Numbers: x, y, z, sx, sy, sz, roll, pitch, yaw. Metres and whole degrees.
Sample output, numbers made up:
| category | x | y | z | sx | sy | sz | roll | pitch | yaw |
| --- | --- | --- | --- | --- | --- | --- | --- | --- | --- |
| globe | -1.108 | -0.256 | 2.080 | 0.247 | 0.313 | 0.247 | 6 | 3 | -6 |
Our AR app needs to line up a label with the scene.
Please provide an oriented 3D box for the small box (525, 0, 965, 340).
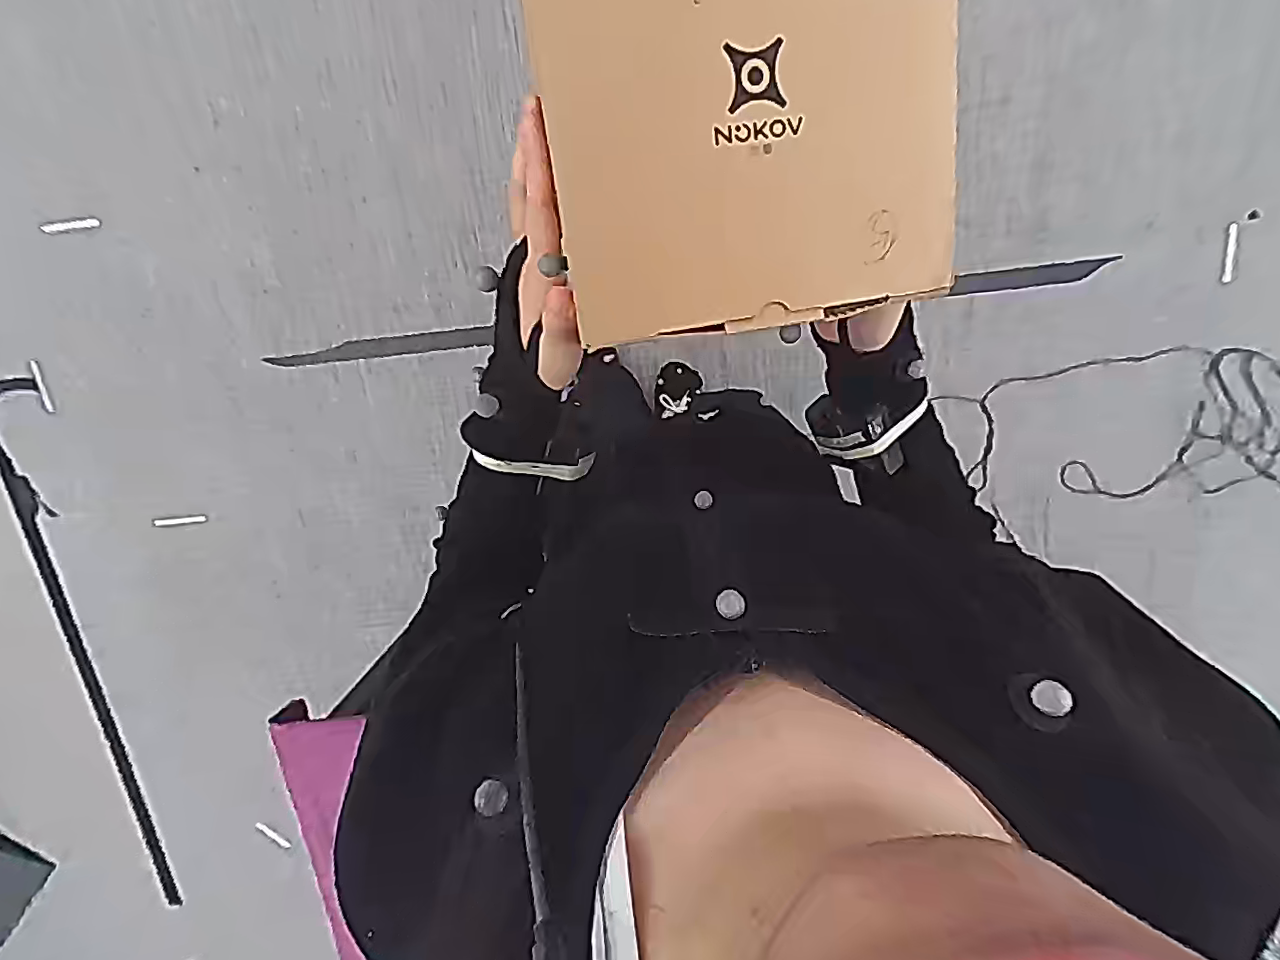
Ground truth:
| category | x | y | z | sx | sy | sz | roll | pitch | yaw |
| --- | --- | --- | --- | --- | --- | --- | --- | --- | --- |
| small box | 0.036 | -0.175 | 0.283 | 0.168 | 0.176 | 0.179 | -11 | 105 | -5 |
